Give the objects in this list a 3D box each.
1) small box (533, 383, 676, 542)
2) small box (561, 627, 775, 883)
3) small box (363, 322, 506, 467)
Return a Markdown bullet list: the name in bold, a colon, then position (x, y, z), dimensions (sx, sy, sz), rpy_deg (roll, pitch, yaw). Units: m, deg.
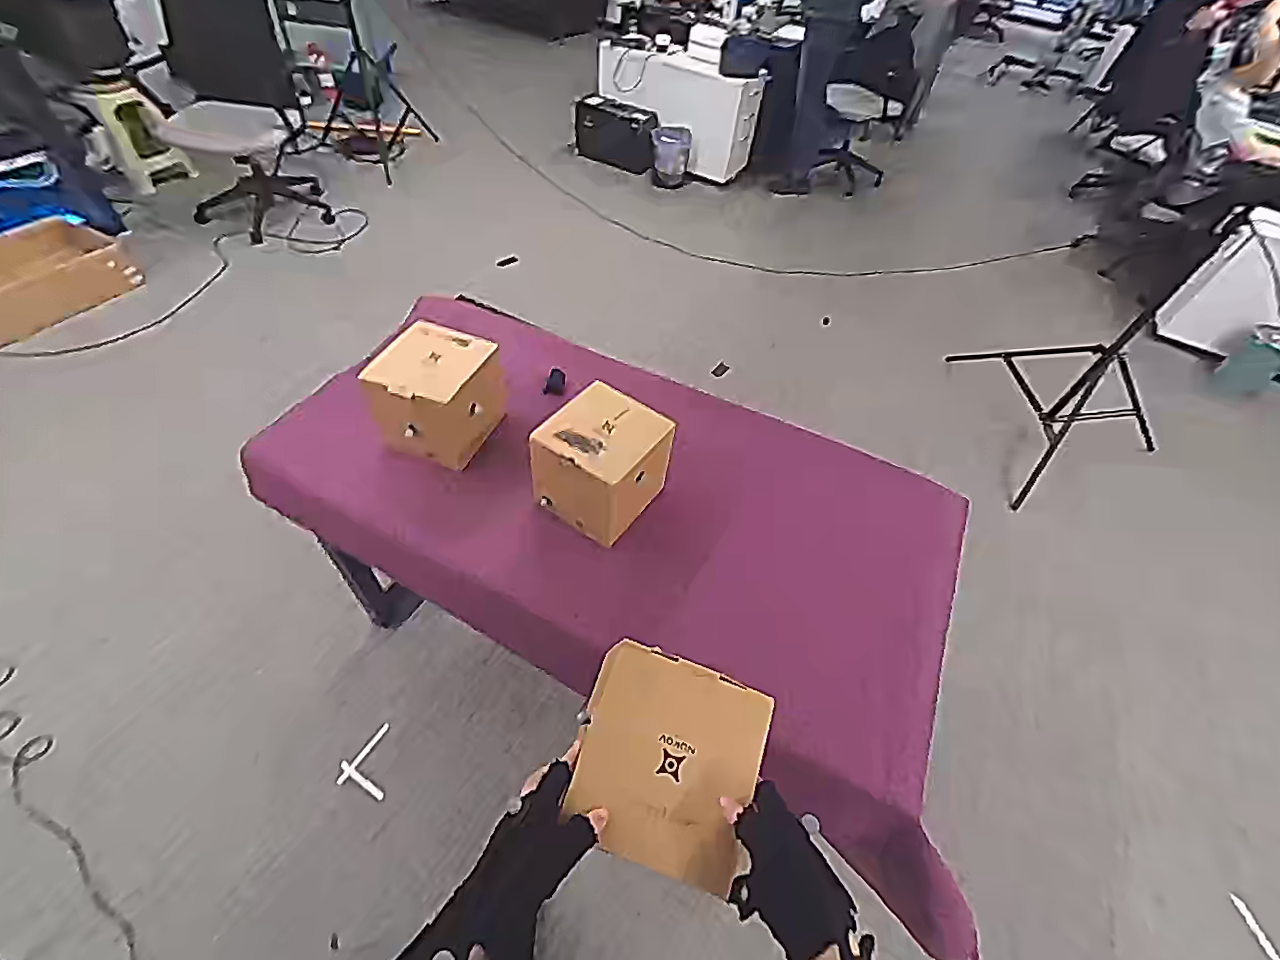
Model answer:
- **small box**: position (-0.059, -0.028, 0.921), dimensions (0.168, 0.176, 0.179), rpy_deg (31, 53, 18)
- **small box**: position (0.021, 0.281, 0.580), dimensions (0.168, 0.176, 0.179), rpy_deg (21, 66, 1)
- **small box**: position (-0.358, -0.151, 0.985), dimensions (0.168, 0.176, 0.179), rpy_deg (19, 51, 8)
